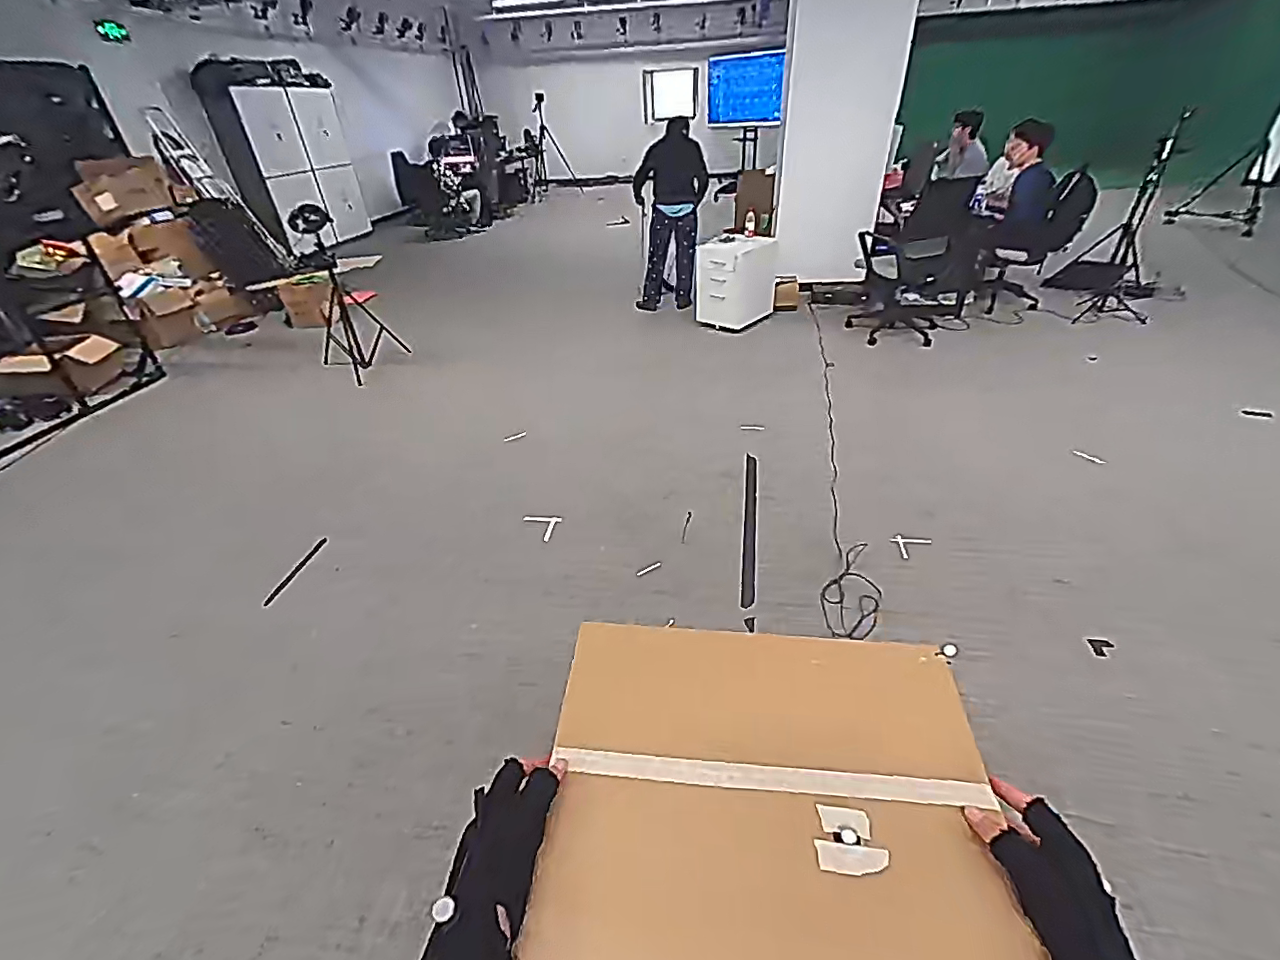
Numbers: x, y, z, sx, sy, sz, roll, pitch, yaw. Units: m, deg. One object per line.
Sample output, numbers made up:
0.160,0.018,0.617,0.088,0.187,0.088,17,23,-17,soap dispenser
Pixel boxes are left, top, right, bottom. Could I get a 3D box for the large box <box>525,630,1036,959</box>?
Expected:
0.122,0.399,0.615,0.408,0.320,0.320,2,42,6,large box
